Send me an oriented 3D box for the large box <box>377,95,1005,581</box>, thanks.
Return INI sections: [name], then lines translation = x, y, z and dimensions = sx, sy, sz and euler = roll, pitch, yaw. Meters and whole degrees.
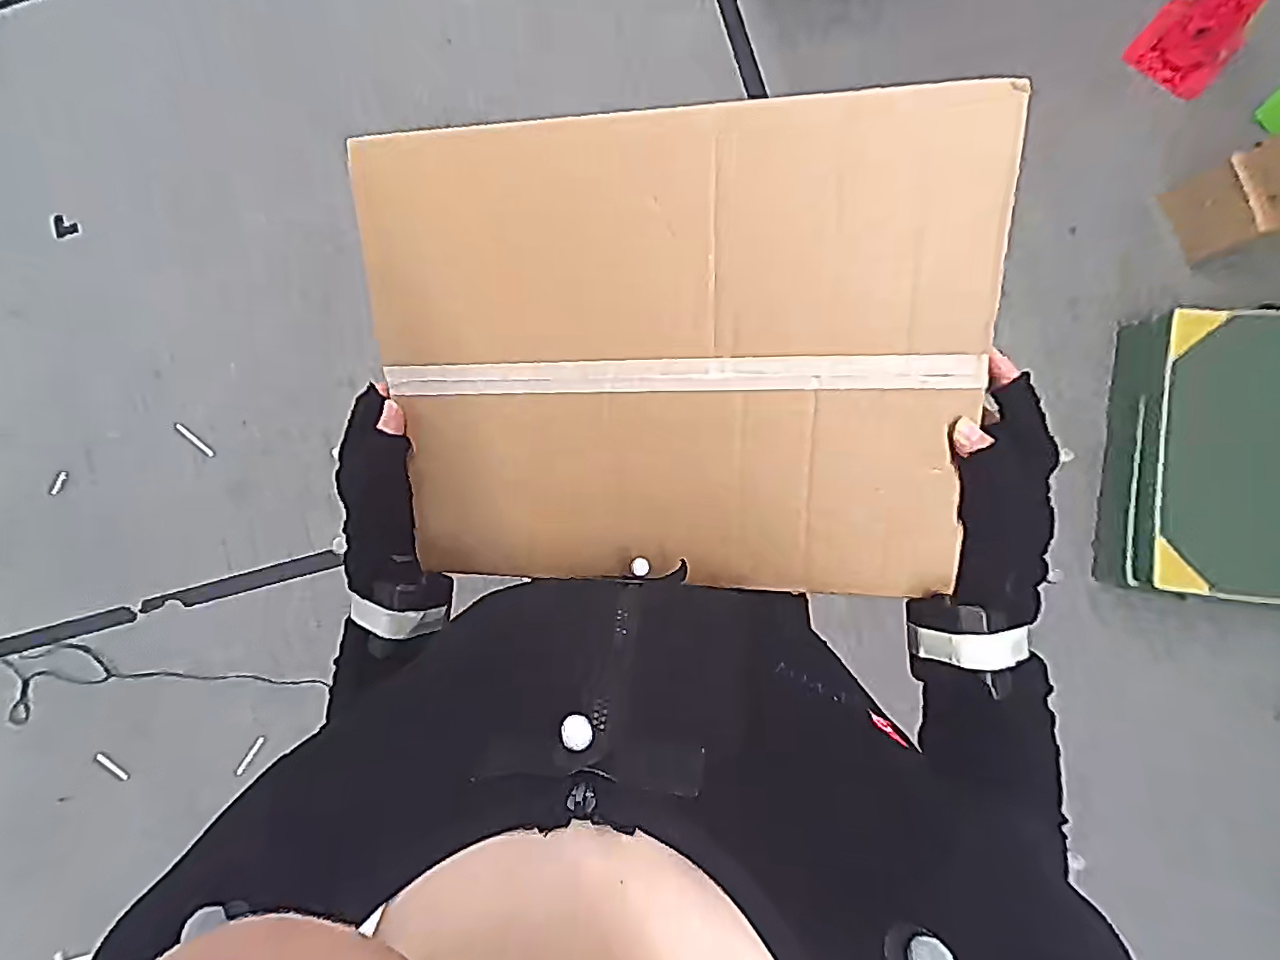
[large box]
translation = 0.042, -0.116, 0.521
dimensions = 0.408, 0.320, 0.320
euler = 1, 108, 10
